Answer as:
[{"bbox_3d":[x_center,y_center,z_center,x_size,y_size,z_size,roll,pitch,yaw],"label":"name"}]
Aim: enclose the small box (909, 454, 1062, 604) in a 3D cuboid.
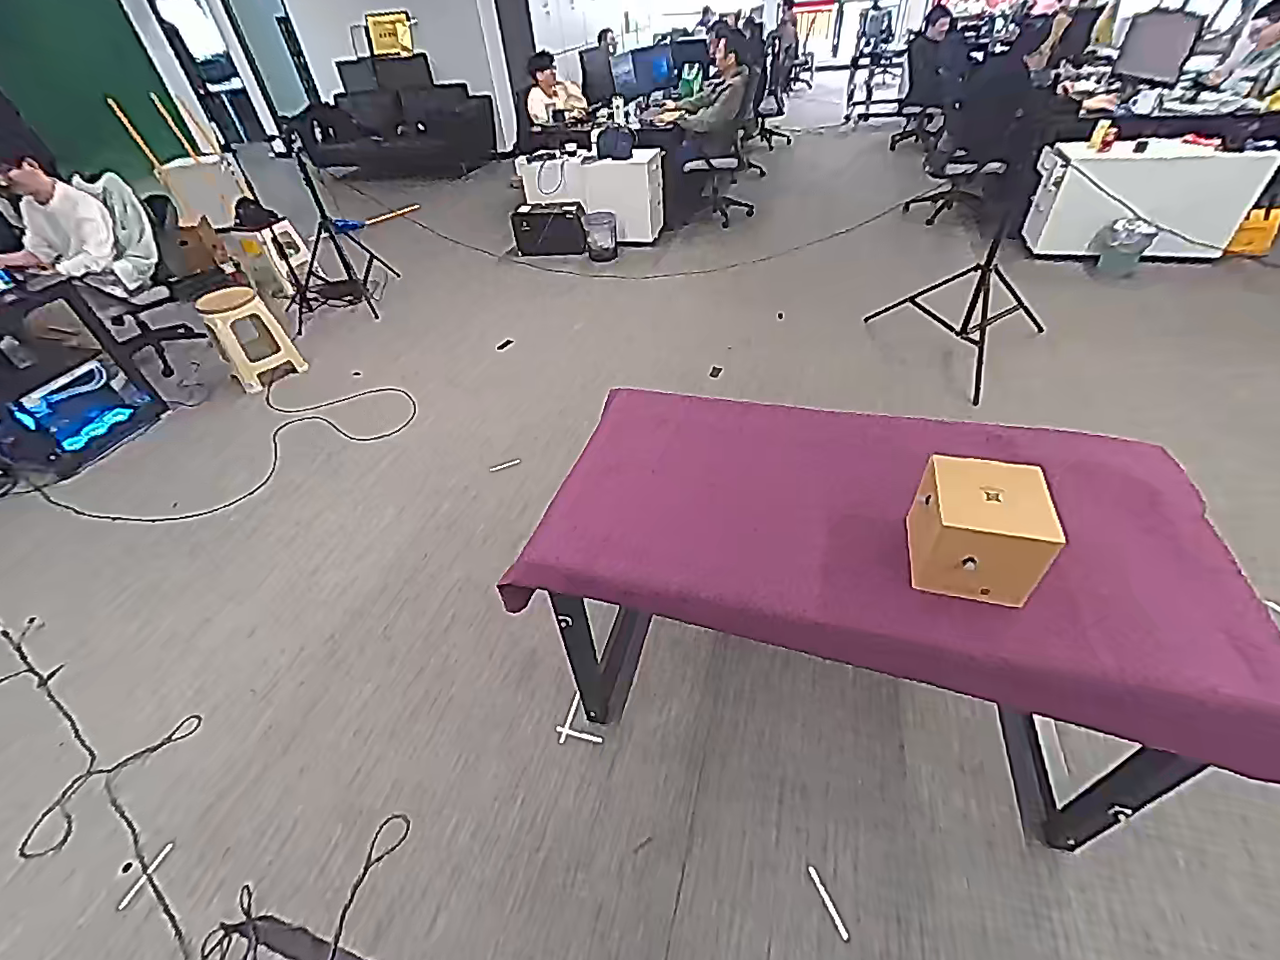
[{"bbox_3d":[0.564,0.083,0.910,0.168,0.176,0.179,8,43,15],"label":"small box"}]
